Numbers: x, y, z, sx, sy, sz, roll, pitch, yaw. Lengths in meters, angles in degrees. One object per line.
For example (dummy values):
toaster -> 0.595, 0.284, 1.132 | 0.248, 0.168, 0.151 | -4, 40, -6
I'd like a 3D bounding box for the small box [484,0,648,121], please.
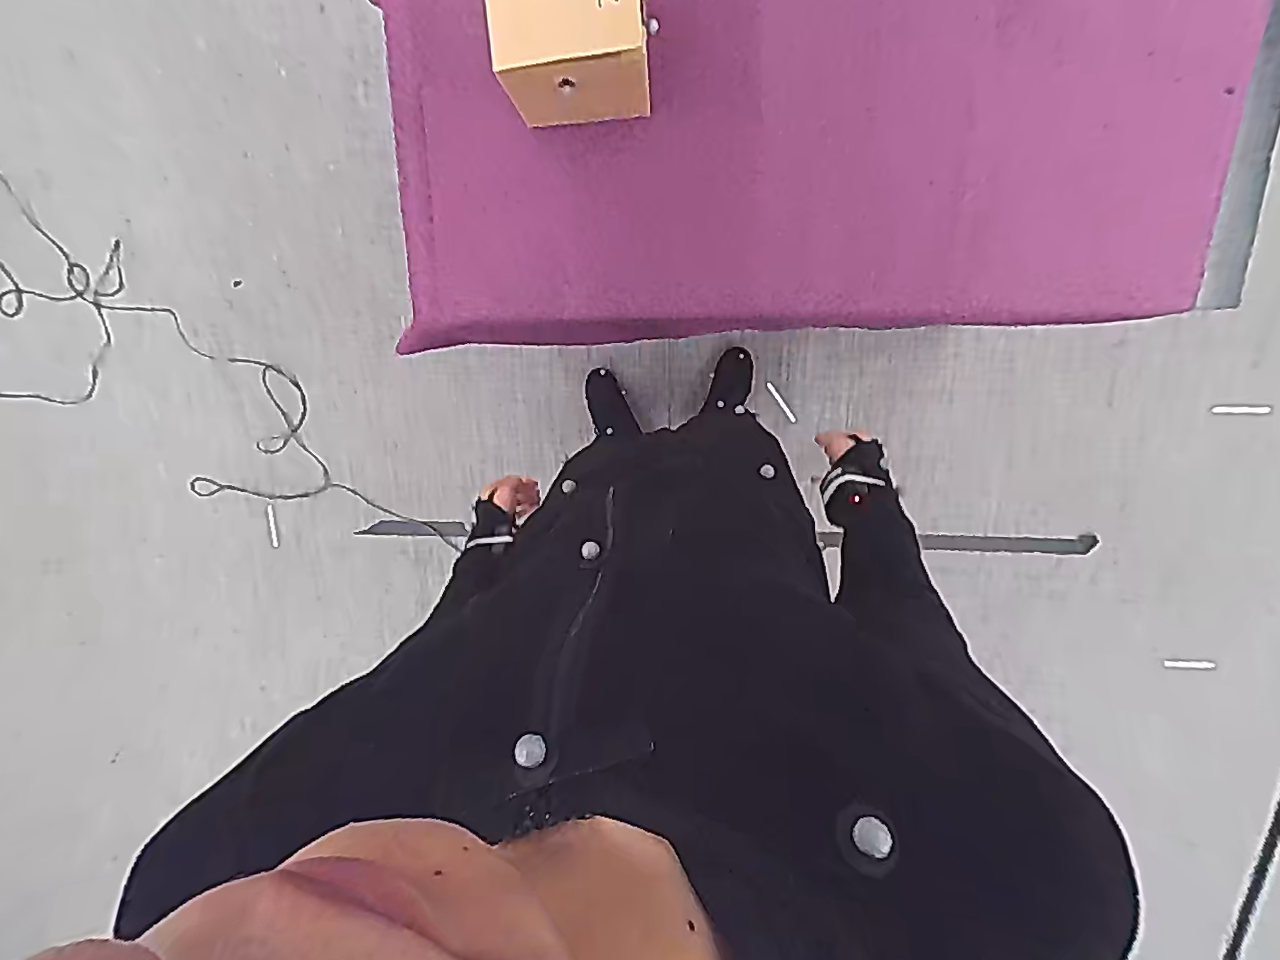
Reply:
small box -> -0.082, -0.563, 0.658 | 0.179, 0.176, 0.168 | -3, 105, 2
